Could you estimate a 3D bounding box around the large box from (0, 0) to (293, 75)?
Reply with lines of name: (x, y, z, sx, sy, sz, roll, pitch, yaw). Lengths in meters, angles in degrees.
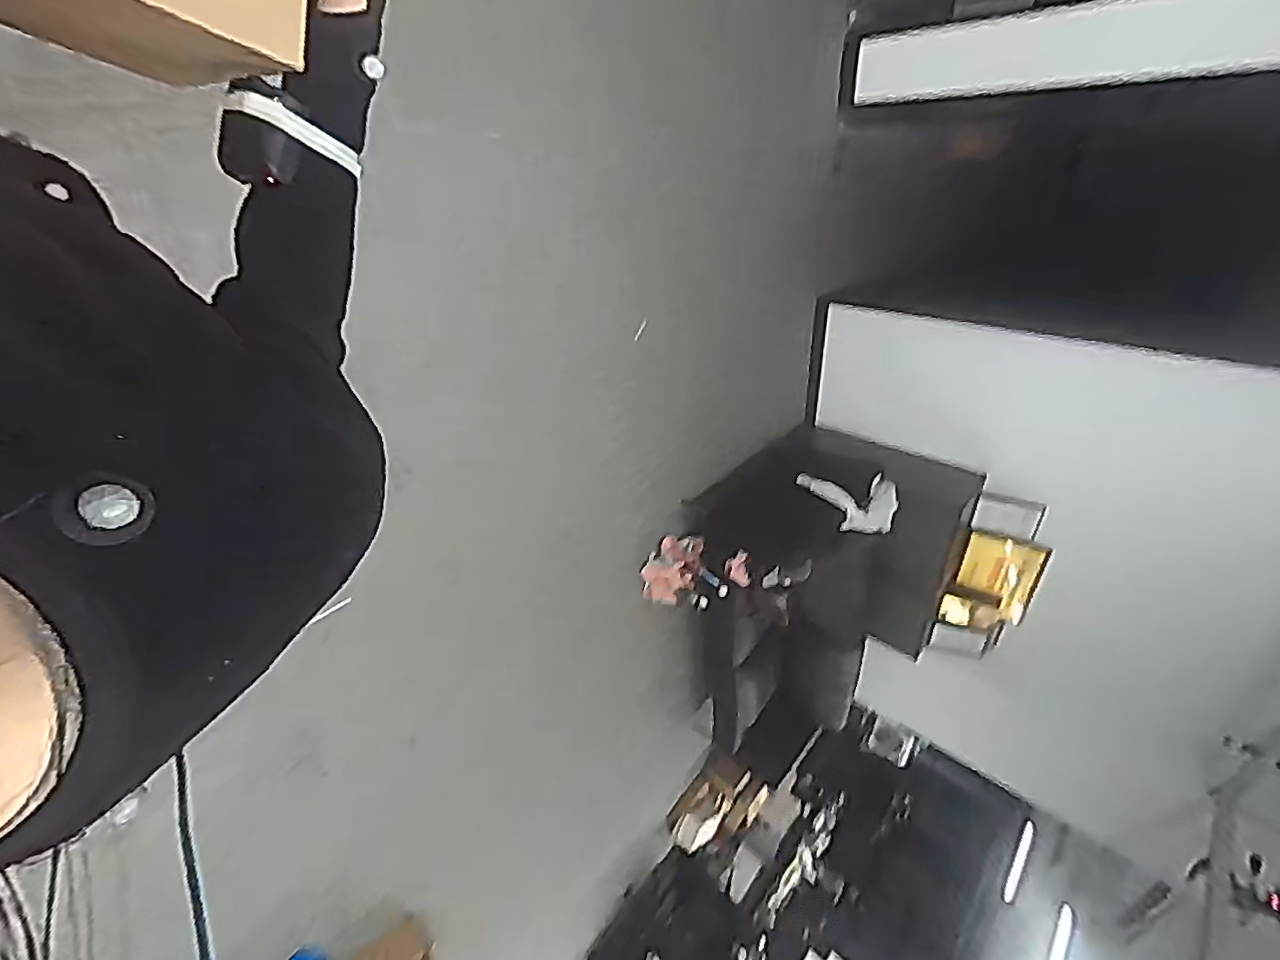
large box: (-0.453, -0.477, 0.280, 0.408, 0.320, 0.320, -7, 117, -51)
